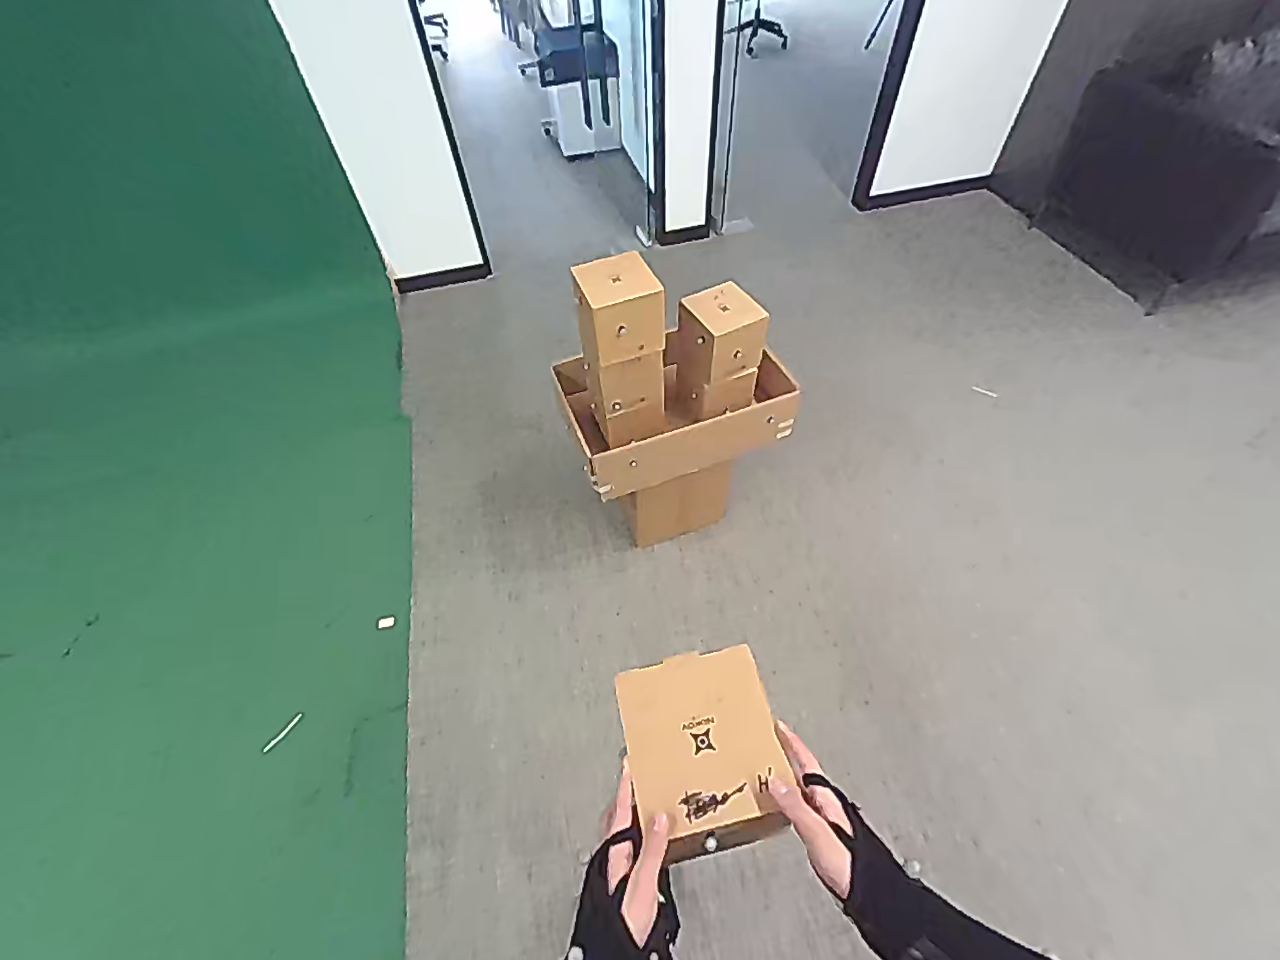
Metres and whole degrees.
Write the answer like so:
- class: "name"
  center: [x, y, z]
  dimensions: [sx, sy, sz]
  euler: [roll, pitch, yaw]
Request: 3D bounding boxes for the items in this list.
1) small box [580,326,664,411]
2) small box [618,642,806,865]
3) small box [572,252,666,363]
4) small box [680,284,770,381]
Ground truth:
- class: "small box"
  center: [-0.042, -0.297, 1.382]
  dimensions: [0.168, 0.176, 0.179]
  euler: [-17, 53, -10]
- class: "small box"
  center: [0.072, 0.319, 0.632]
  dimensions: [0.168, 0.176, 0.179]
  euler: [-11, 49, -4]
- class: "small box"
  center: [-0.045, -0.392, 1.251]
  dimensions: [0.168, 0.176, 0.179]
  euler: [-19, 53, -10]
- class: "small box"
  center: [0.219, -0.384, 1.435]
  dimensions: [0.168, 0.176, 0.179]
  euler: [-23, 56, -16]
